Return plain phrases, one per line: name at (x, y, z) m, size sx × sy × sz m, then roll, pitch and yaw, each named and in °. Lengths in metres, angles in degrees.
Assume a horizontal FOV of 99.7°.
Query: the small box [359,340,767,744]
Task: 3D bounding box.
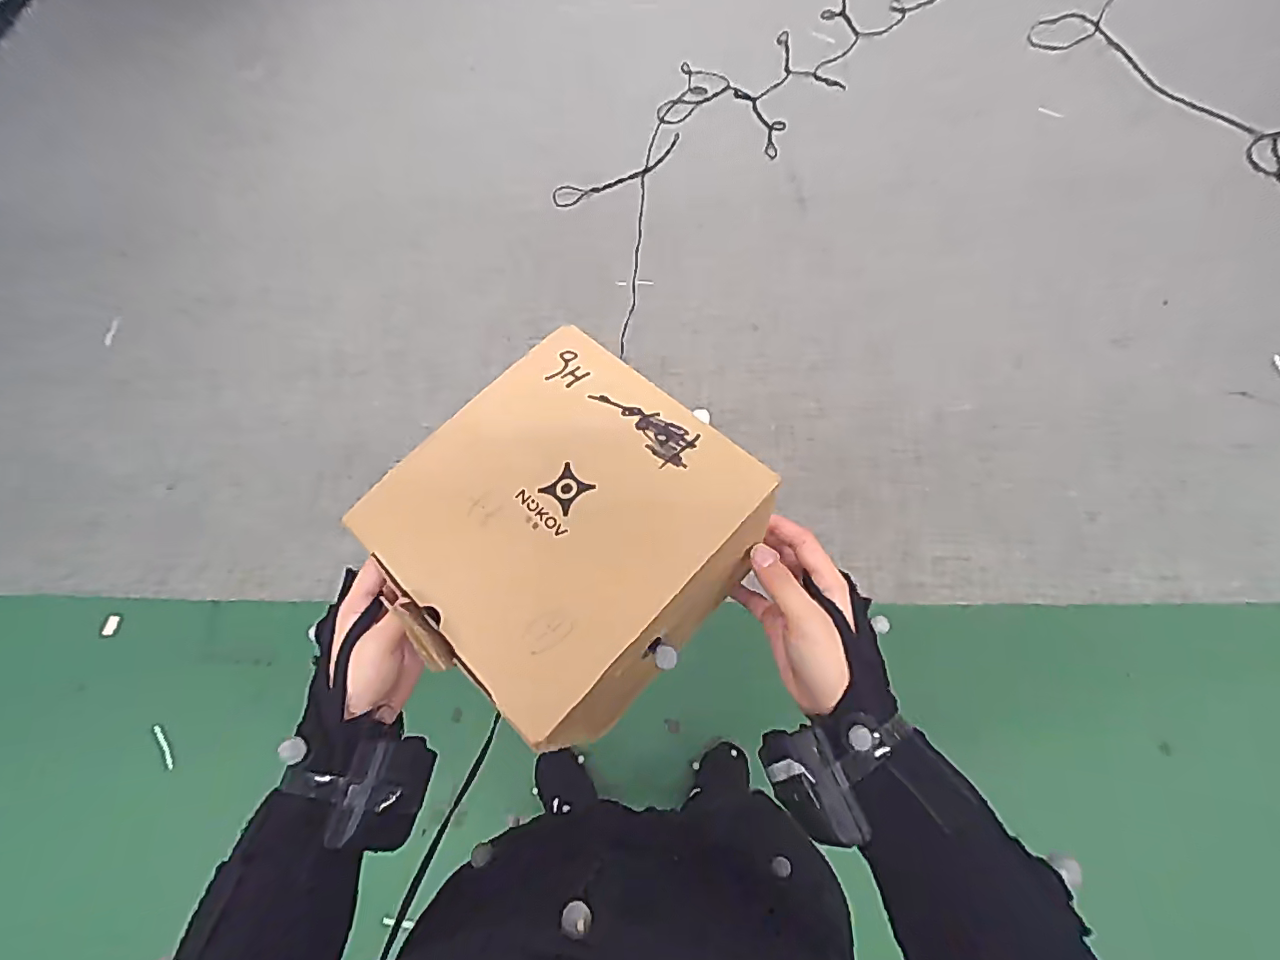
small box at (-0.036, 0.050, 0.368) m, size 0.168 × 0.176 × 0.179 m, roll 40°, pitch 76°, yaw 21°
